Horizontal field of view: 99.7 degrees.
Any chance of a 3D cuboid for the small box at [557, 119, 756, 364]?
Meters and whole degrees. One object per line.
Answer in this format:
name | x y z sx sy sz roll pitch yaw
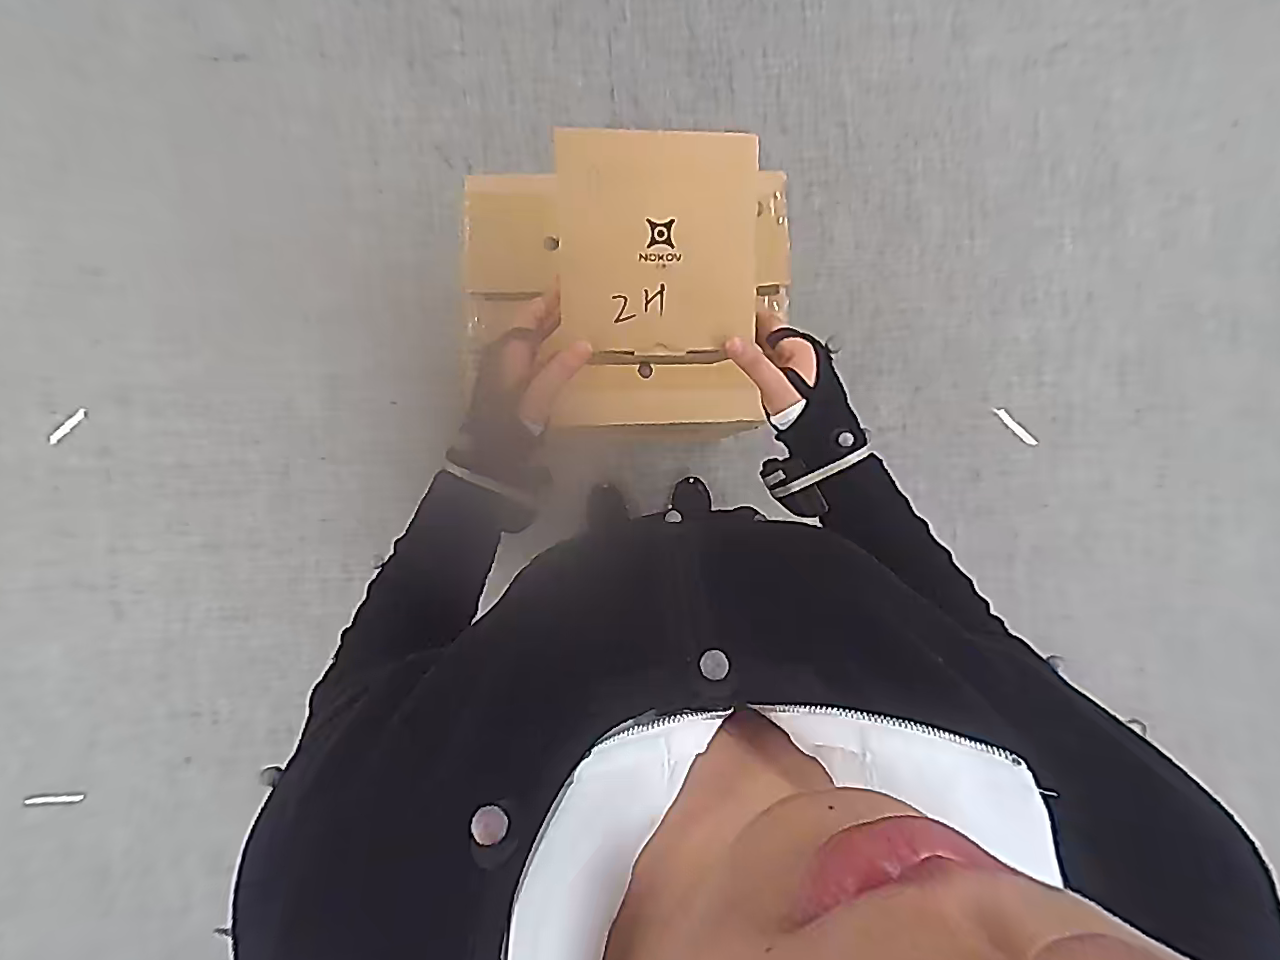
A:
small box | 0.006 -0.209 0.521 0.168 0.176 0.179 -1 98 -5
